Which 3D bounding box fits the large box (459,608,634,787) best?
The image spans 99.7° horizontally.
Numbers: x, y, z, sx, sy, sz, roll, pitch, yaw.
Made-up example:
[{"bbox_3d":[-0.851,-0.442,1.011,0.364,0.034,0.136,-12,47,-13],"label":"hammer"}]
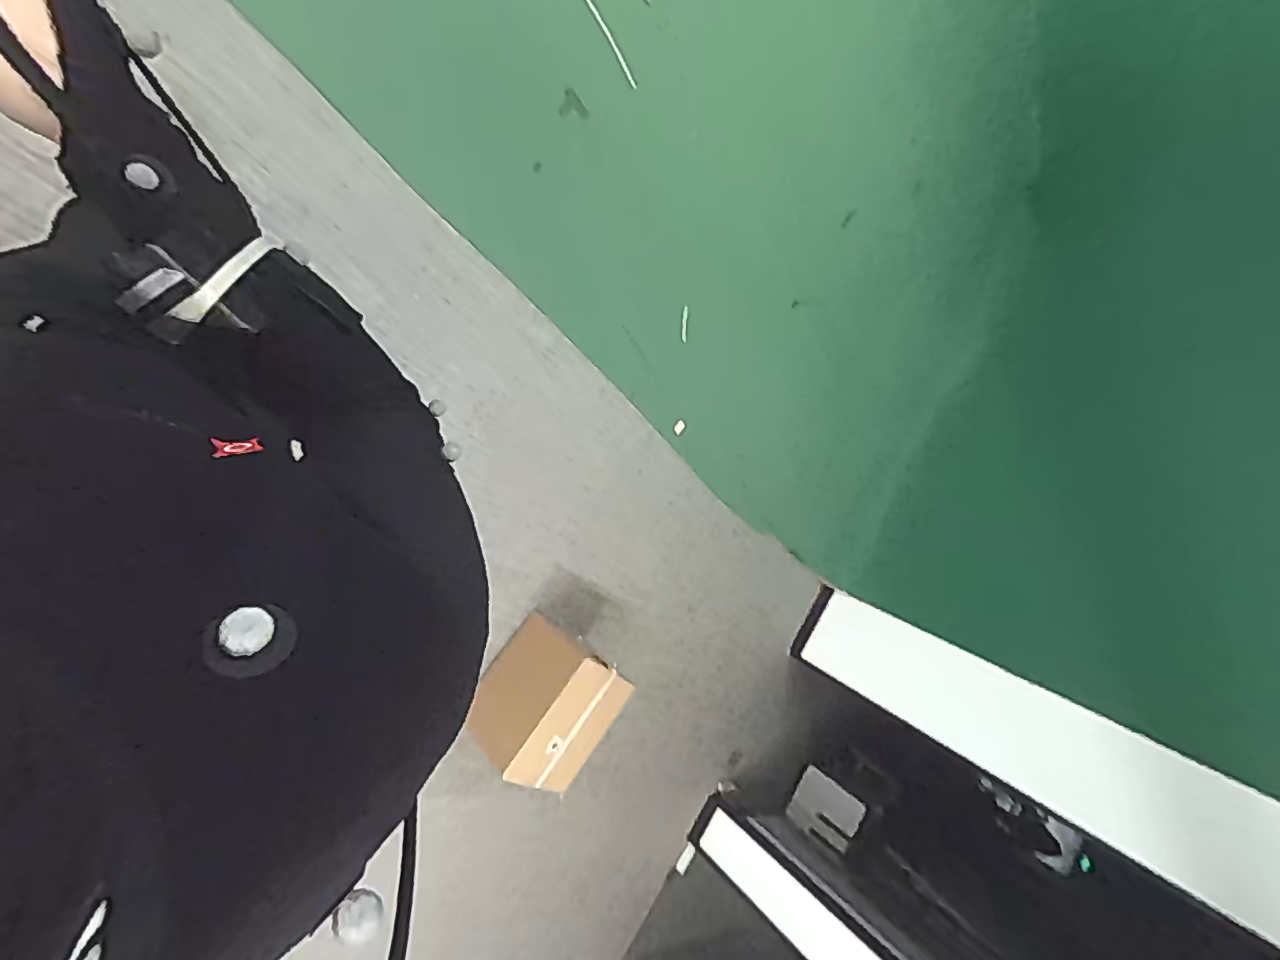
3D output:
[{"bbox_3d":[-0.301,0.700,1.762,0.408,0.320,0.320,-52,135,-11],"label":"large box"}]
